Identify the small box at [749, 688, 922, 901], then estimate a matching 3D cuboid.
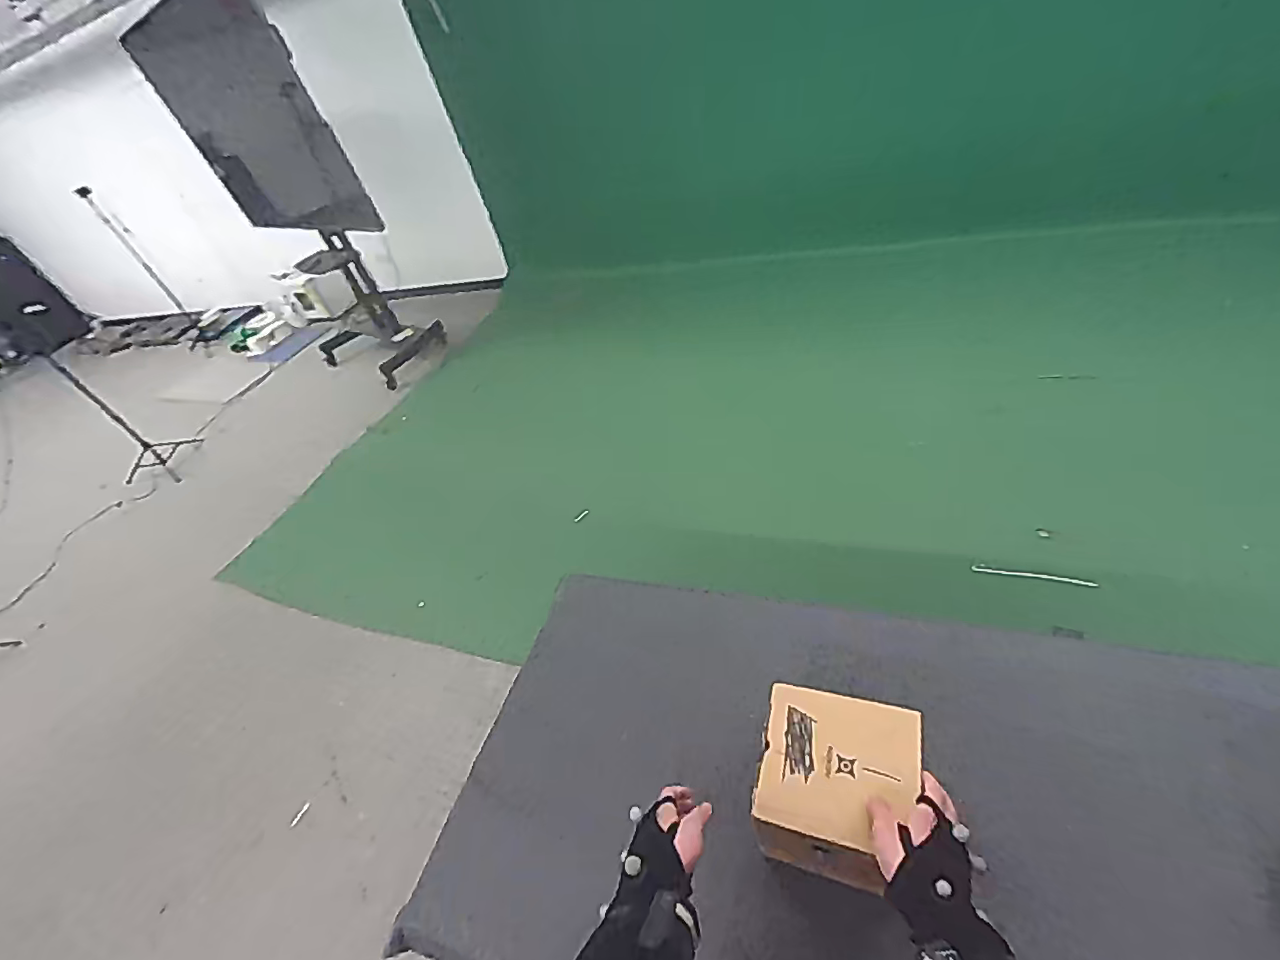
[{"bbox_3d":[0.245,0.388,0.672,0.179,0.176,0.168,4,46,23],"label":"small box"}]
